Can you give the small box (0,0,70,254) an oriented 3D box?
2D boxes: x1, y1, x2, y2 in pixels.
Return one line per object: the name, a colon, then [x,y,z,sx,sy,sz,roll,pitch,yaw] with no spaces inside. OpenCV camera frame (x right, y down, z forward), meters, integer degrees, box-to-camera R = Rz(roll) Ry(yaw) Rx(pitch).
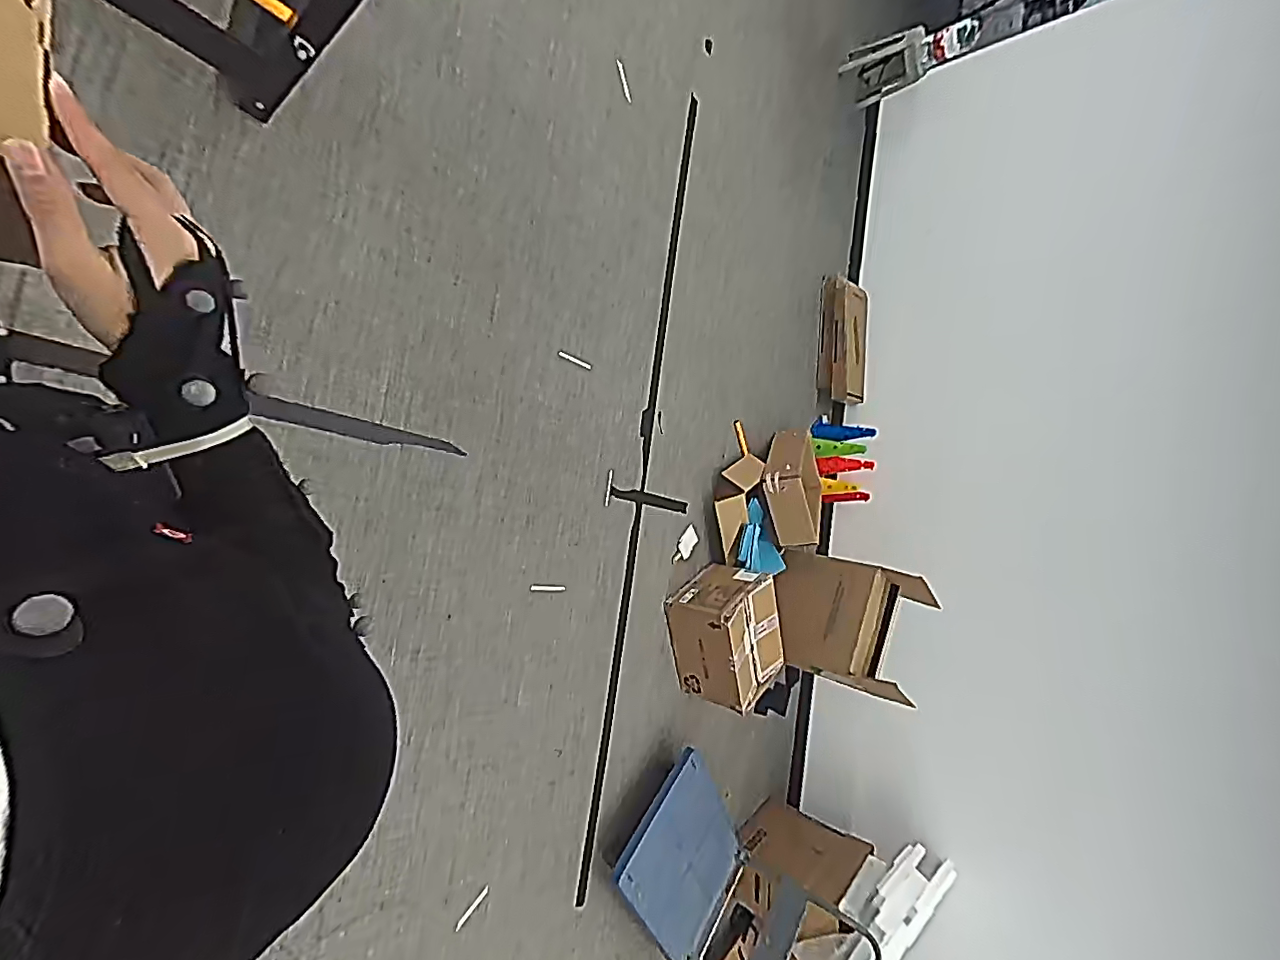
small box: [-0.399,-0.228,0.253,0.179,0.176,0.168,-1,90,-50]
